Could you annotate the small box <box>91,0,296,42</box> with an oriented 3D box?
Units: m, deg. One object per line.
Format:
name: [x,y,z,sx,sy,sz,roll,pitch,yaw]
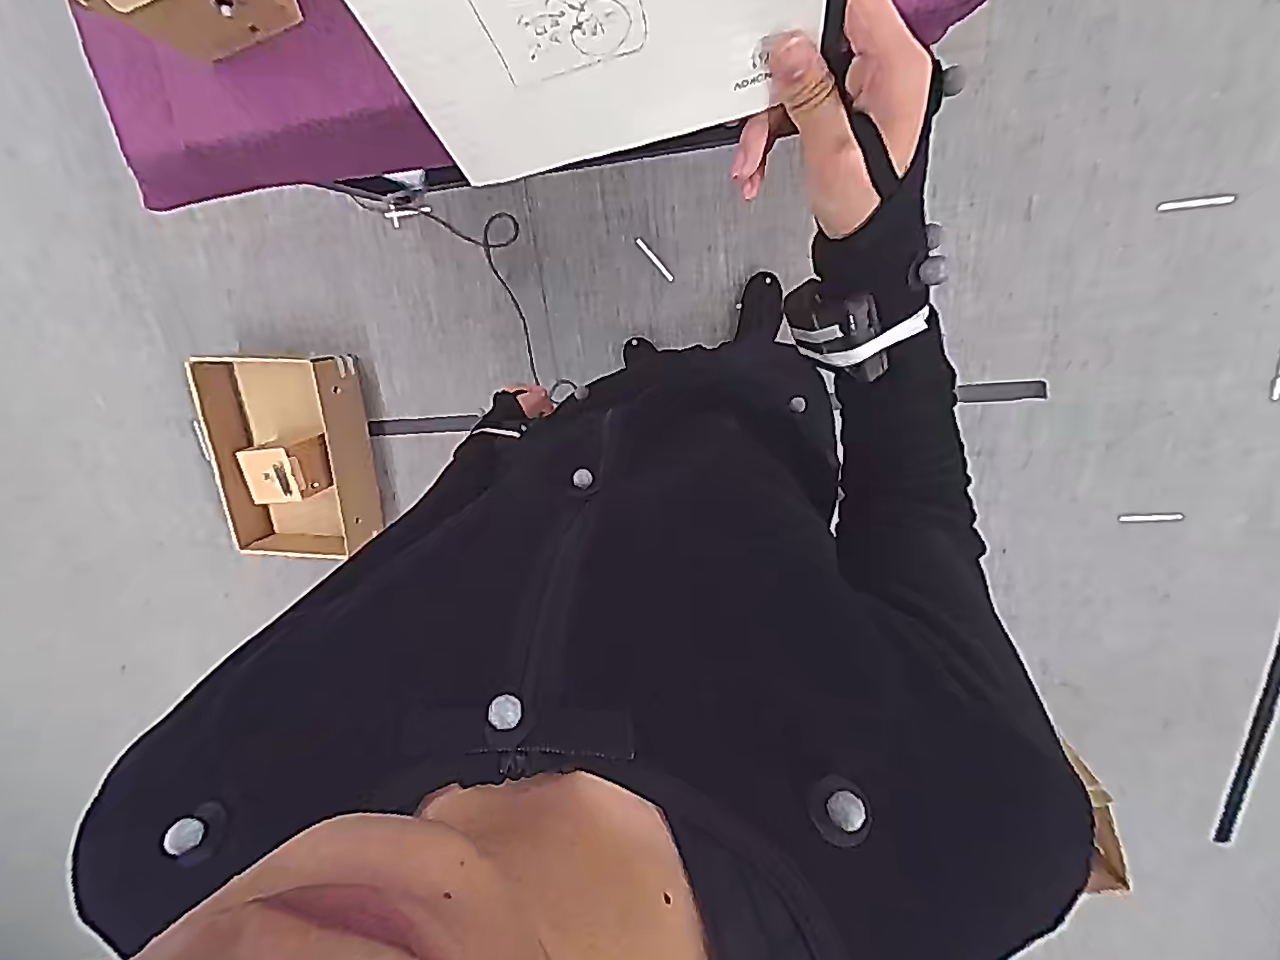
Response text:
small box: [-0.558,-0.663,0.640,0.168,0.176,0.179,-11,107,11]
